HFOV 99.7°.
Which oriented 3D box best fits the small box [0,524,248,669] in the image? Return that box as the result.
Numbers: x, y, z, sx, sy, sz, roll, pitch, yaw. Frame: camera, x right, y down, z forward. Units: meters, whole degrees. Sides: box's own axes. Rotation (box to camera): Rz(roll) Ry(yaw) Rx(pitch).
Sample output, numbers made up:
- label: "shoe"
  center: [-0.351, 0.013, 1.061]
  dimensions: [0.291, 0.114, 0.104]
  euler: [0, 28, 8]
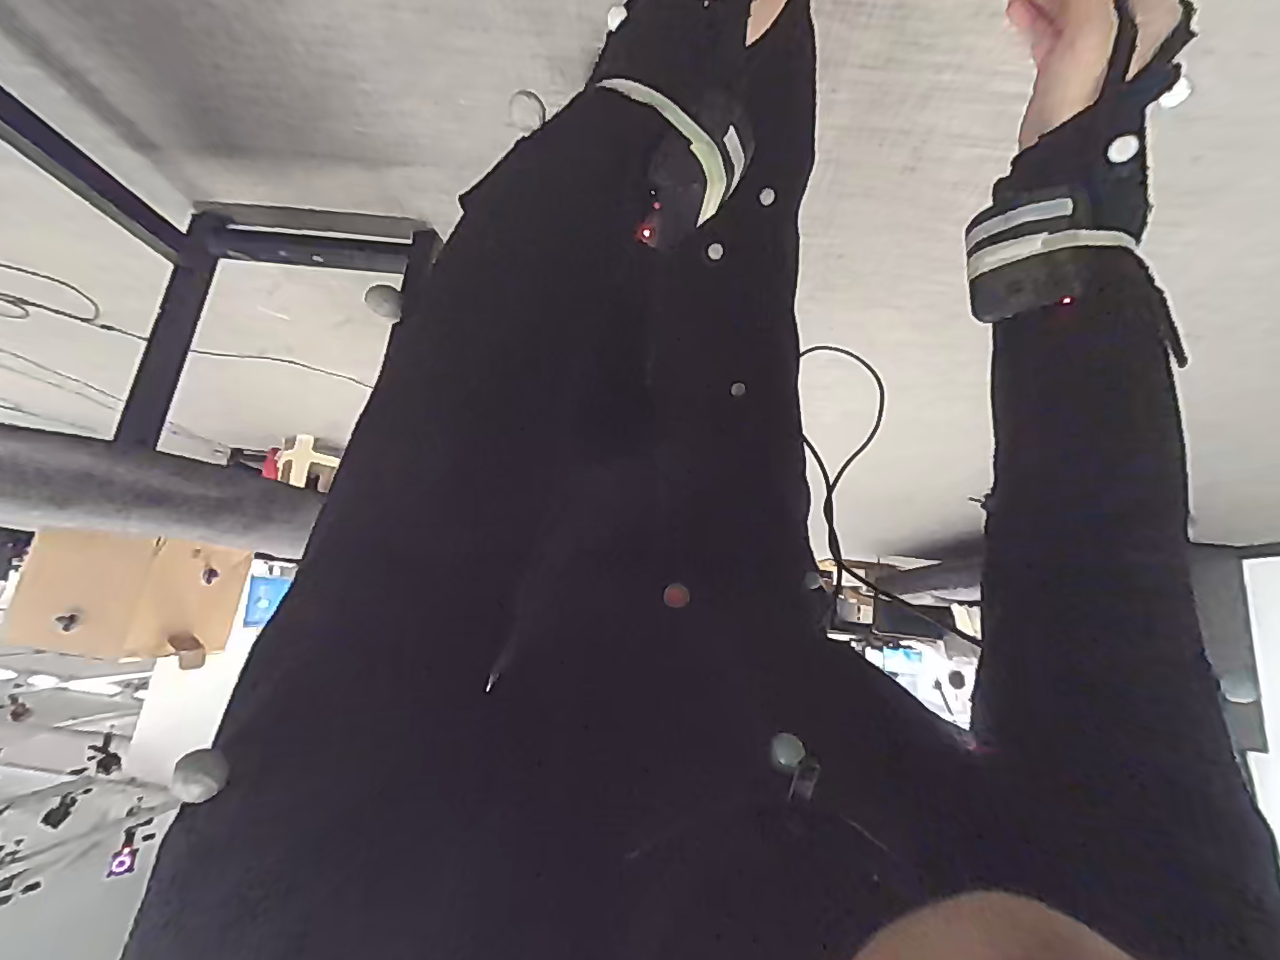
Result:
- label: "small box"
  center: [-0.698, 0.159, 0.750]
  dimensions: [0.179, 0.176, 0.168]
  euler: [5, 166, 6]
